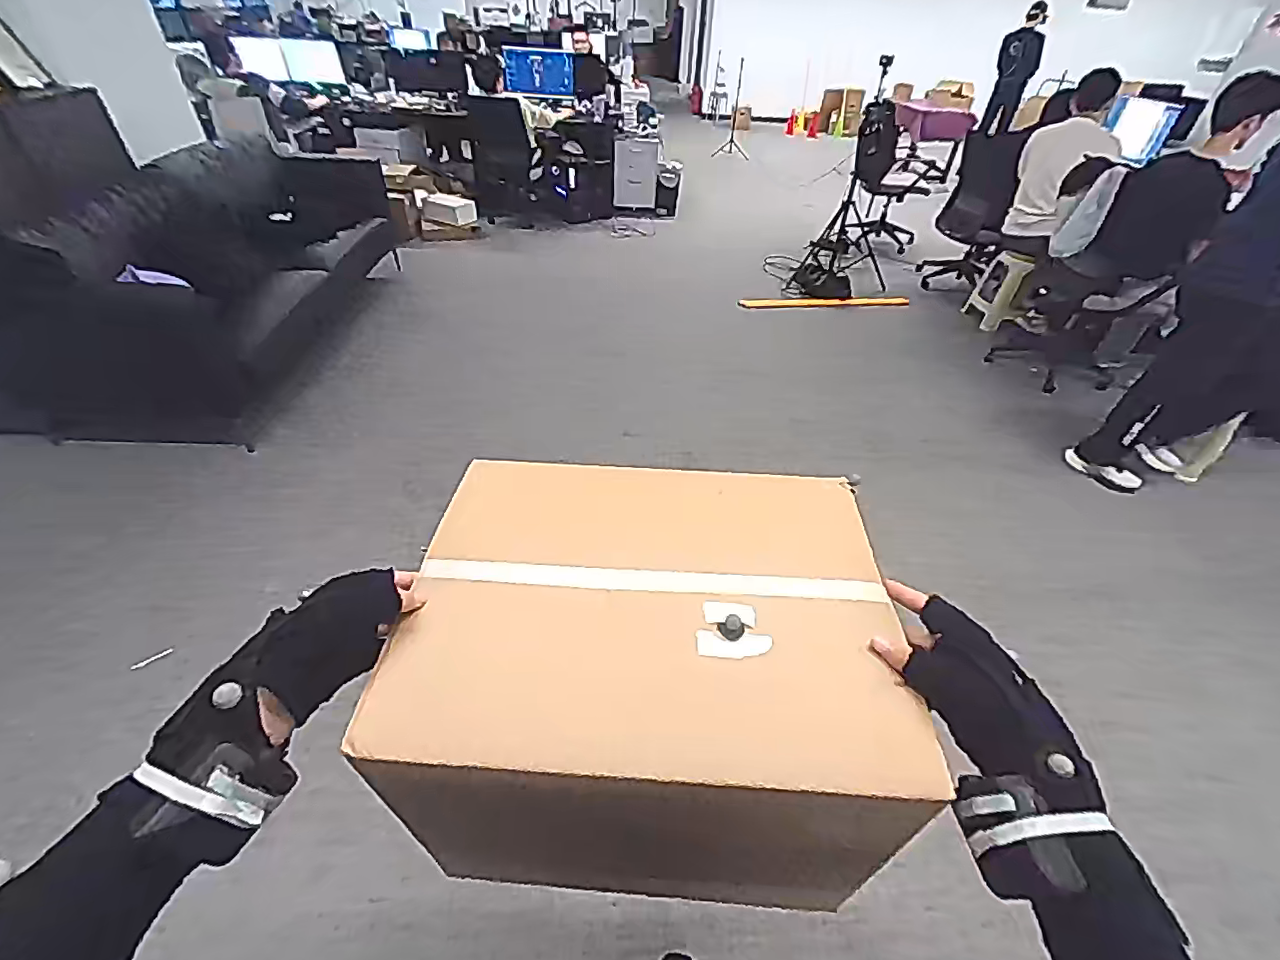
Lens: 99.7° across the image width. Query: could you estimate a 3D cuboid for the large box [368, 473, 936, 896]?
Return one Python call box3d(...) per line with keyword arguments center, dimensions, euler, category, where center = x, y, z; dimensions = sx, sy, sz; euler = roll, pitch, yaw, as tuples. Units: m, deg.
box3d(center=(0.010, 0.211, 0.579), dimensions=(0.408, 0.320, 0.320), euler=(3, 41, 2), category="large box")
